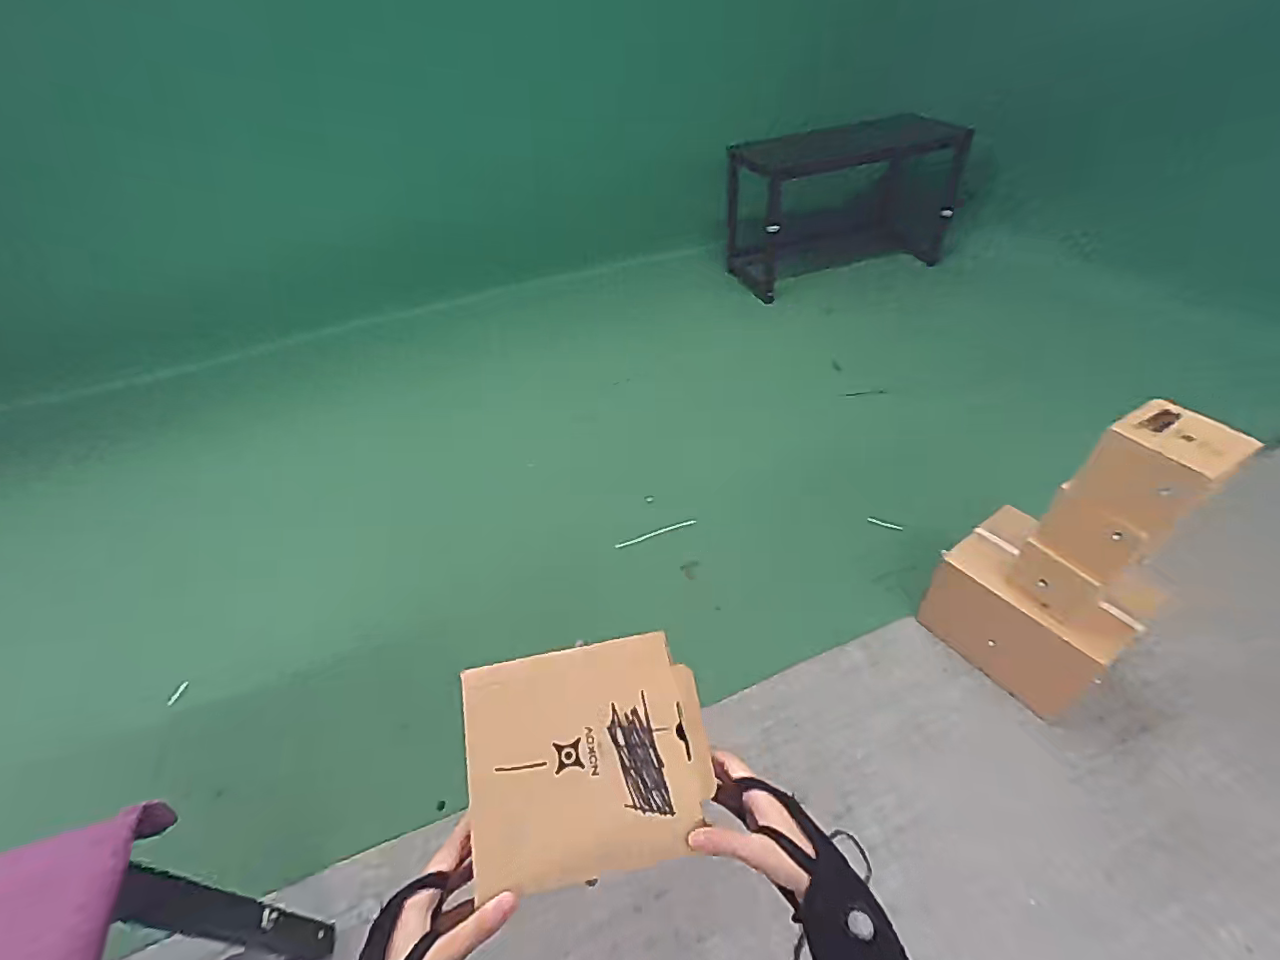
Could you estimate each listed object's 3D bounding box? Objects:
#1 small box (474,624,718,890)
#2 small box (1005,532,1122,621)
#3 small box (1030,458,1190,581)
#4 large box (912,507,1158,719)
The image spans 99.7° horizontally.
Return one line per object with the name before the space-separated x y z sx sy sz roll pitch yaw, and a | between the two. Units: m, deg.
small box | -0.044 0.242 0.497 0.179 0.176 0.168 -9 64 -7
small box | 1.017 0.204 1.294 0.179 0.176 0.168 -25 47 -18
small box | 1.011 0.087 1.182 0.168 0.176 0.179 -24 47 -17
large box | 1.049 0.355 1.489 0.320 0.320 0.408 -28 46 -22
